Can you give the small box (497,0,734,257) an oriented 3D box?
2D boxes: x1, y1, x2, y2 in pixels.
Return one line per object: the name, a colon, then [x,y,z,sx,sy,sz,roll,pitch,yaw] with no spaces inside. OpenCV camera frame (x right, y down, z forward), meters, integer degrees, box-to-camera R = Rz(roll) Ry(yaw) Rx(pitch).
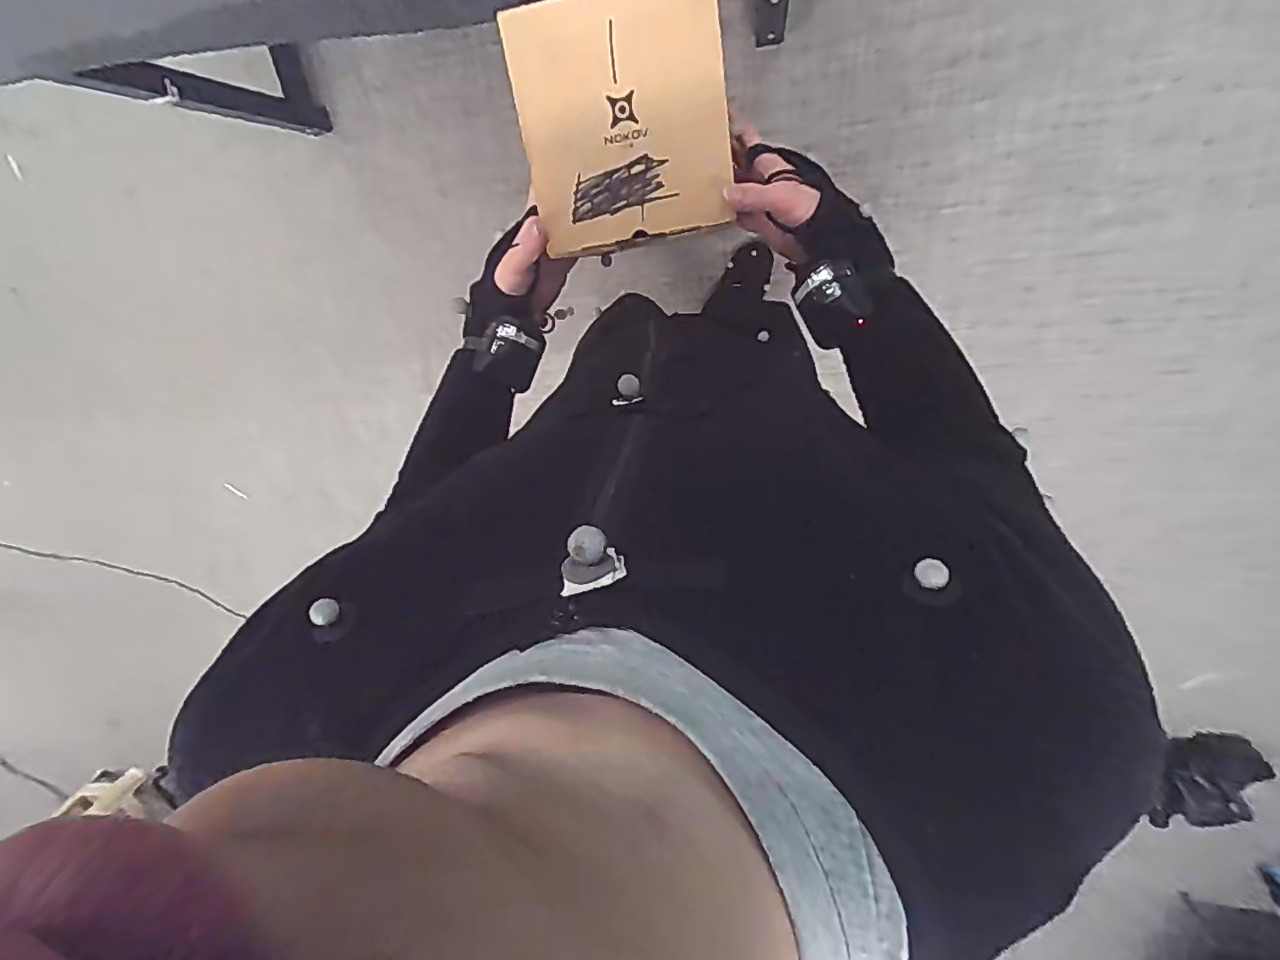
small box: [-0.008,-0.313,0.498,0.168,0.176,0.179,-8,111,8]
